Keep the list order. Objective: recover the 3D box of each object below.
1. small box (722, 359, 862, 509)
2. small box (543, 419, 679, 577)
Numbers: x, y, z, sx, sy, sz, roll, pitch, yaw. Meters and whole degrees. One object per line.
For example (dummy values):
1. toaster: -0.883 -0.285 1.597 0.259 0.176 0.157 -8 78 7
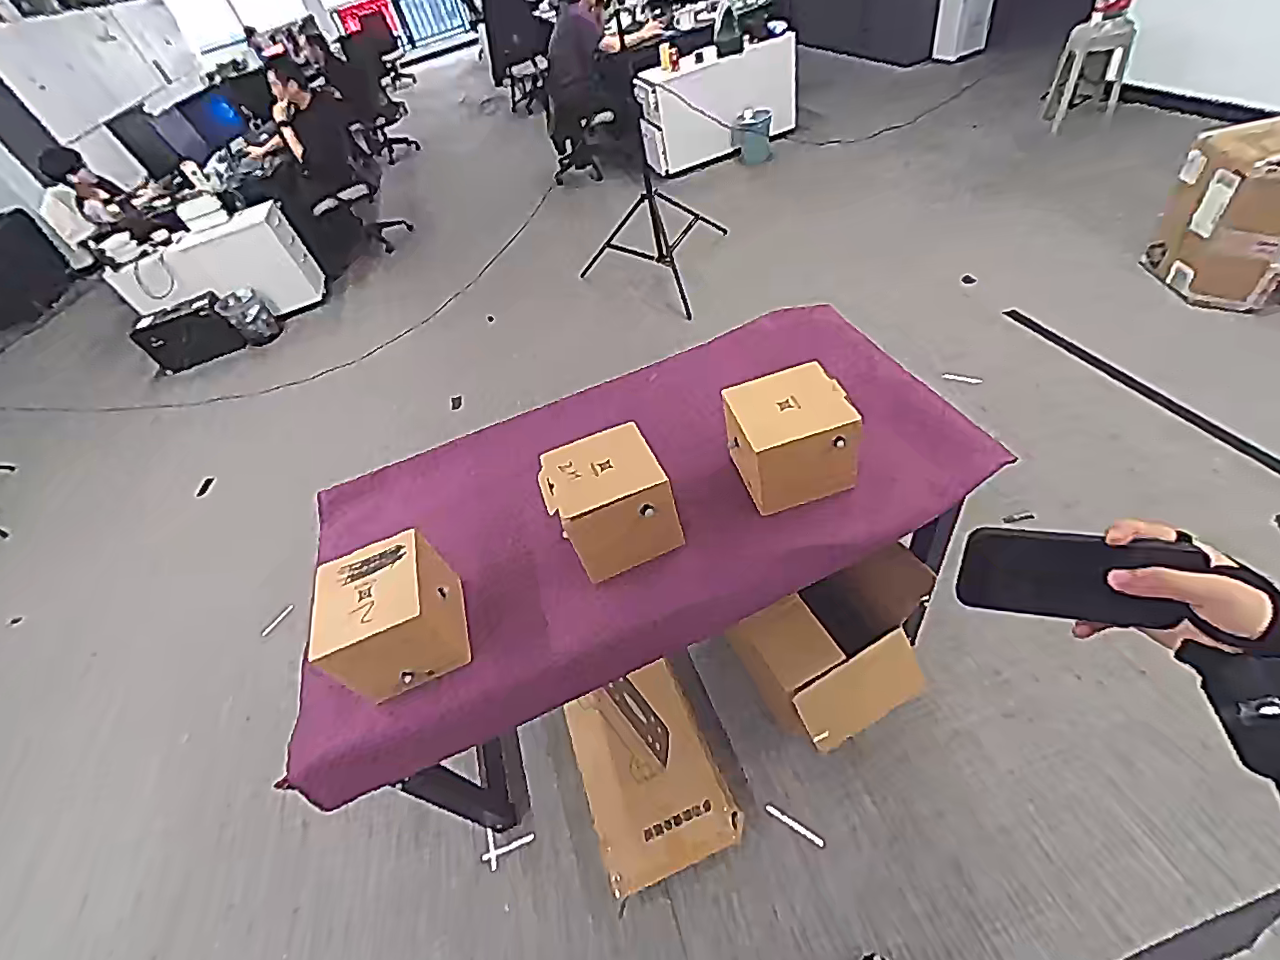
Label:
1. small box: 0.258 -0.075 0.932 0.179 0.176 0.168 -18 47 0
2. small box: -0.042 0.032 0.921 0.179 0.176 0.168 -23 45 -5
